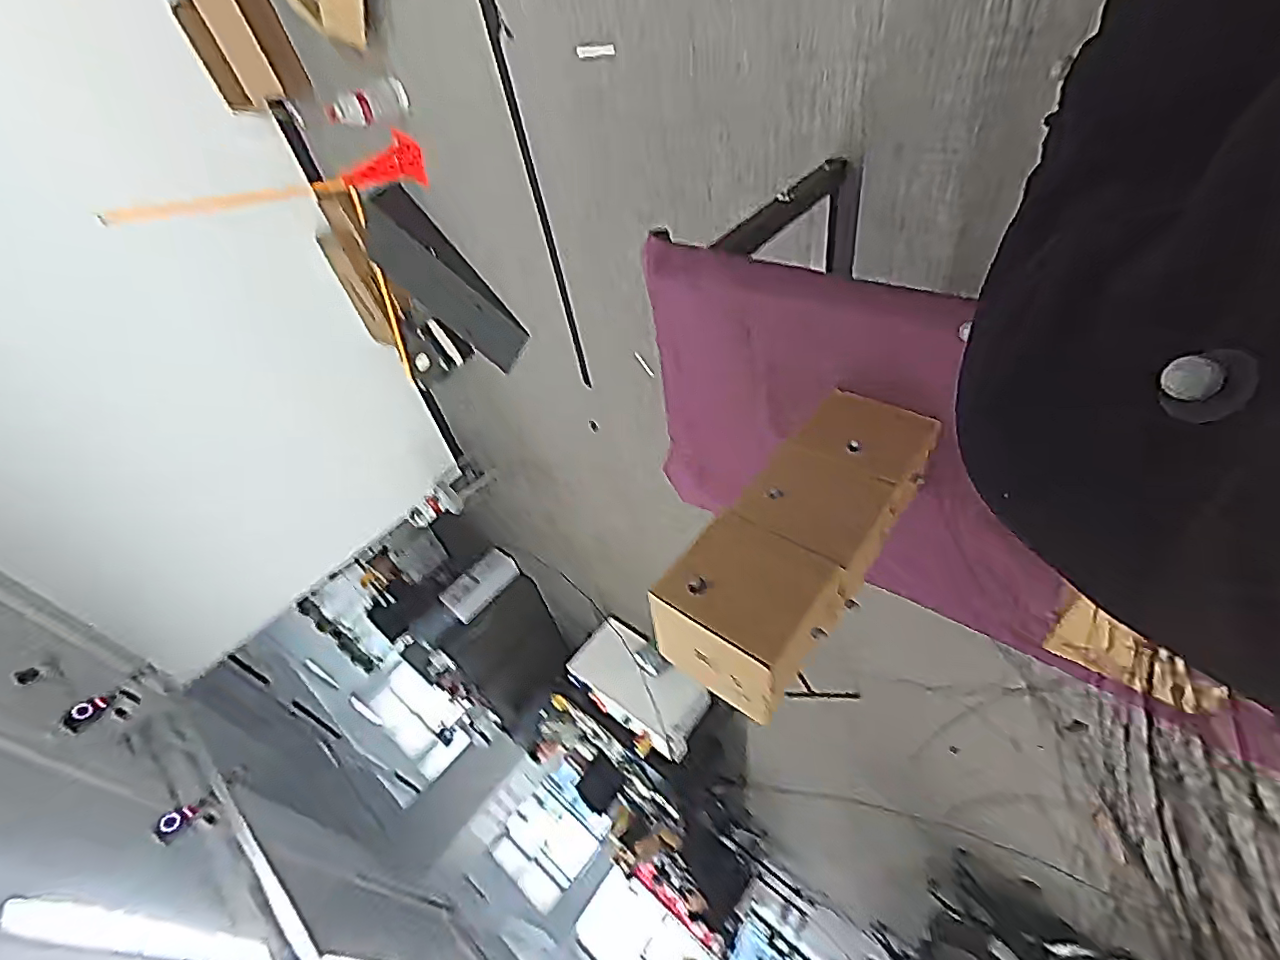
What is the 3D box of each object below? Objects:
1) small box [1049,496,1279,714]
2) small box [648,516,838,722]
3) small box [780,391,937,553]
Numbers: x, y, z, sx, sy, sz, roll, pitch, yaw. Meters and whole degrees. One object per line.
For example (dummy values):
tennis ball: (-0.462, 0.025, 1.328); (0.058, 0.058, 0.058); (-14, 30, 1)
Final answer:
small box: (0.662, 0.150, 0.685); (0.168, 0.176, 0.179); (24, 145, 33)
small box: (0.135, 0.174, 0.719); (0.179, 0.176, 0.168); (26, 145, 31)
small box: (0.350, -0.020, 0.876); (0.179, 0.176, 0.168); (27, 145, 31)
